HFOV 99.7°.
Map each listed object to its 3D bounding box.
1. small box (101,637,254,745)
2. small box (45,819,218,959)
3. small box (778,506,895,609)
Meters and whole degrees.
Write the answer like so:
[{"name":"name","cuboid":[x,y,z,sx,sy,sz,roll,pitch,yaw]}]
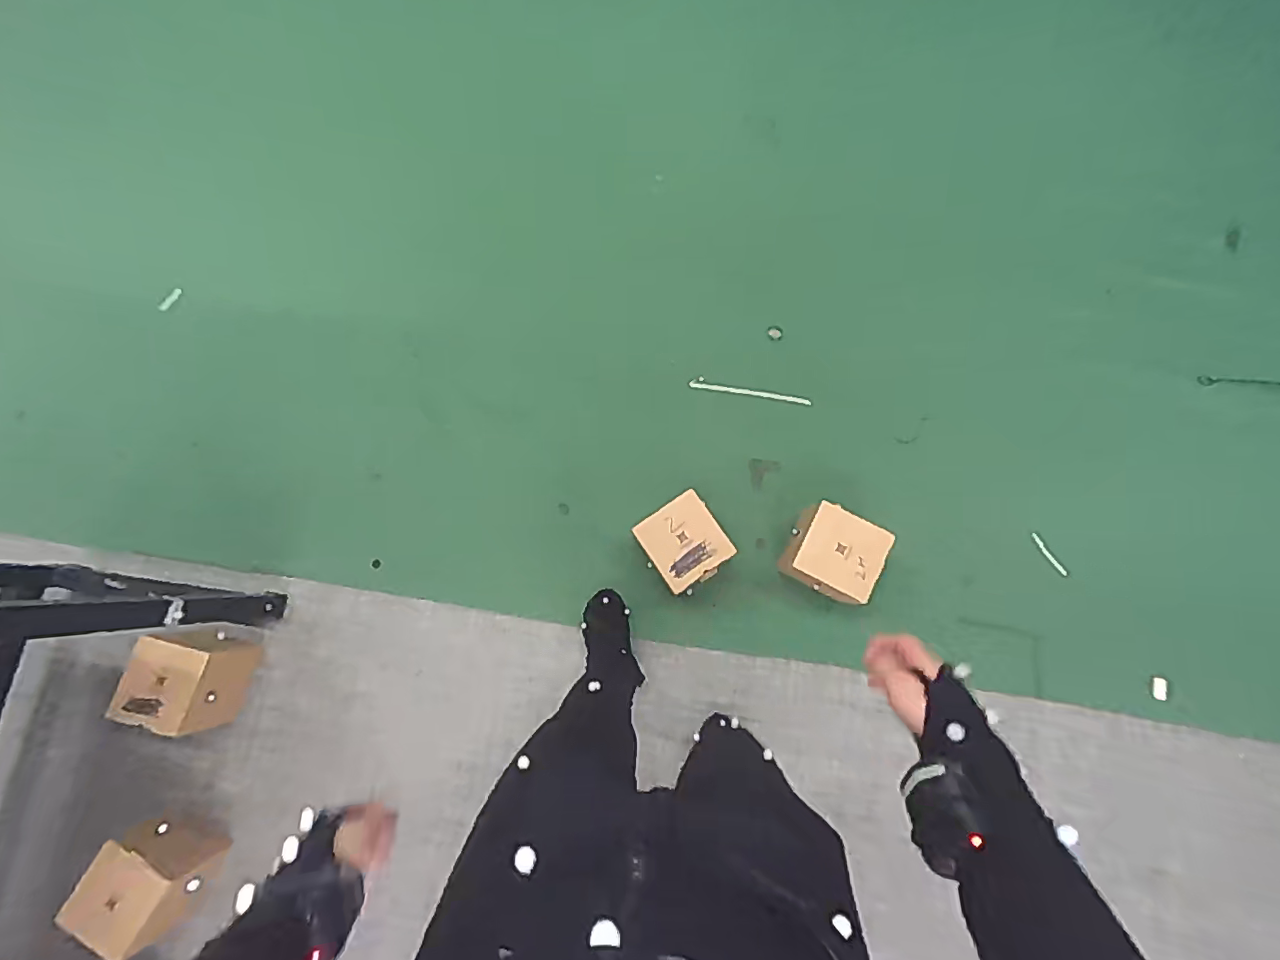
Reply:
[{"name":"small box","cuboid":[-1.017,0.461,1.209,0.168,0.176,0.179,14,78,3]},{"name":"small box","cuboid":[-1.042,0.859,1.130,0.168,0.176,0.179,28,82,7]},{"name":"small box","cuboid":[0.439,0.181,1.240,0.179,0.176,0.168,28,81,6]}]
